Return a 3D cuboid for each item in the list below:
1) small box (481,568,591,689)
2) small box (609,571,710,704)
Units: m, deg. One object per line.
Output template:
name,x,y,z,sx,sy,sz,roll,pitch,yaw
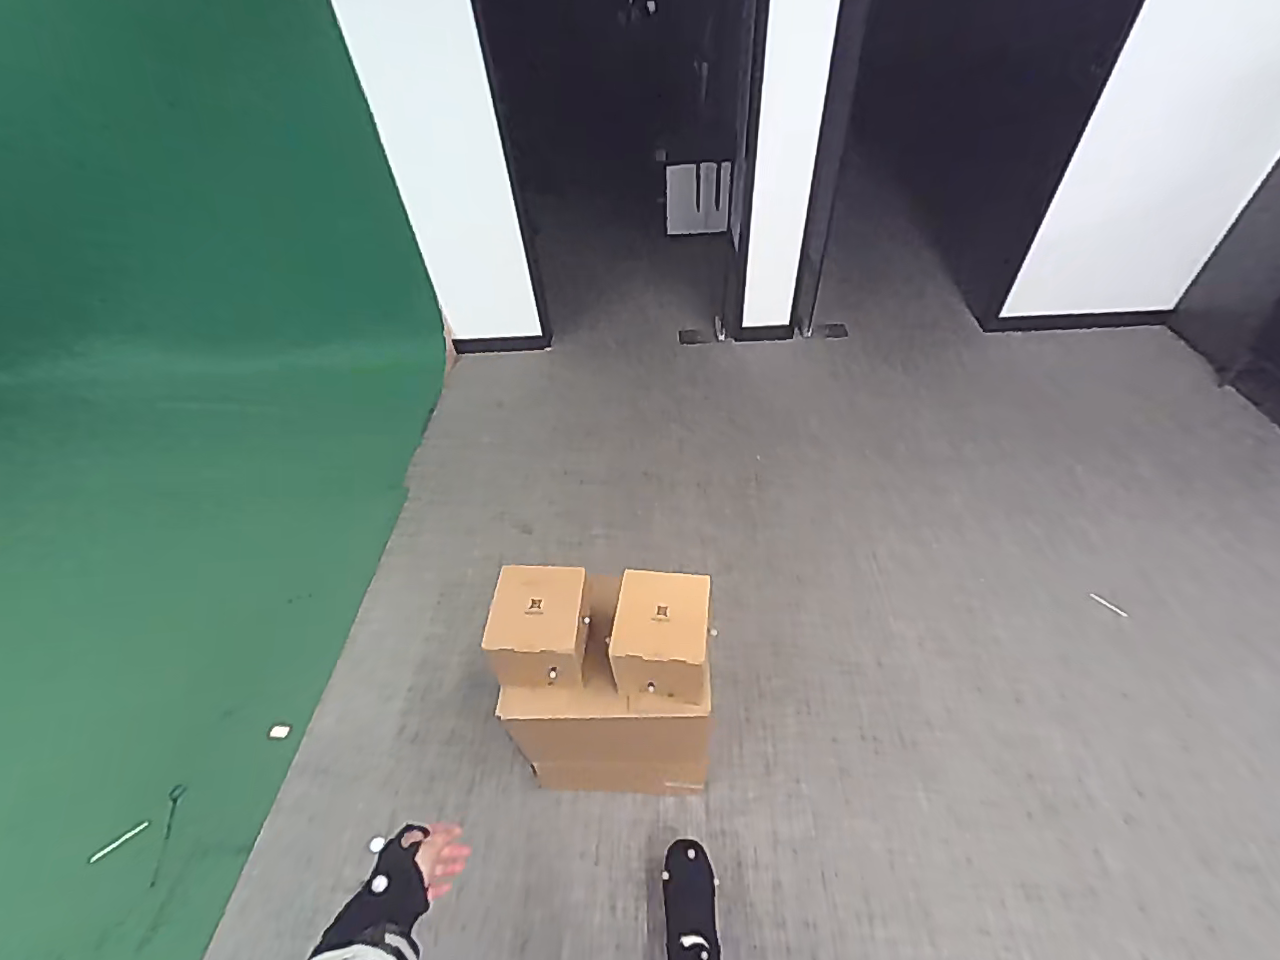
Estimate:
small box,-0.189,0.290,1.048,0.168,0.176,0.179,1,47,3
small box,0.043,0.297,1.021,0.168,0.176,0.179,3,47,9
